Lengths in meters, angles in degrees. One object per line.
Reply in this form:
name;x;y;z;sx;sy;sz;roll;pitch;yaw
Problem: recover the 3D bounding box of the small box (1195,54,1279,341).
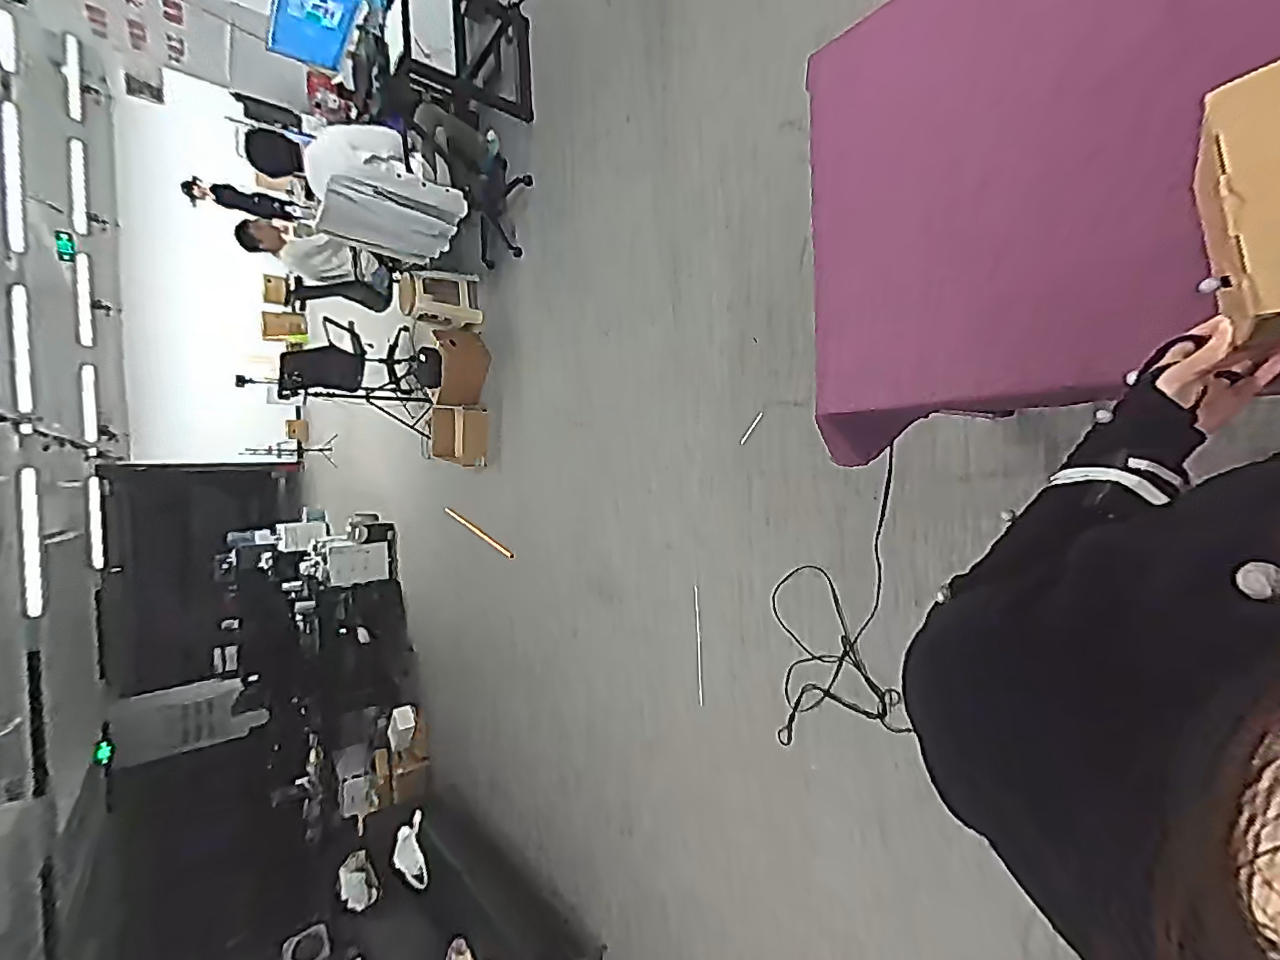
small box;0.520;-0.207;0.375;0.179;0.176;0.168;-10;85;44
